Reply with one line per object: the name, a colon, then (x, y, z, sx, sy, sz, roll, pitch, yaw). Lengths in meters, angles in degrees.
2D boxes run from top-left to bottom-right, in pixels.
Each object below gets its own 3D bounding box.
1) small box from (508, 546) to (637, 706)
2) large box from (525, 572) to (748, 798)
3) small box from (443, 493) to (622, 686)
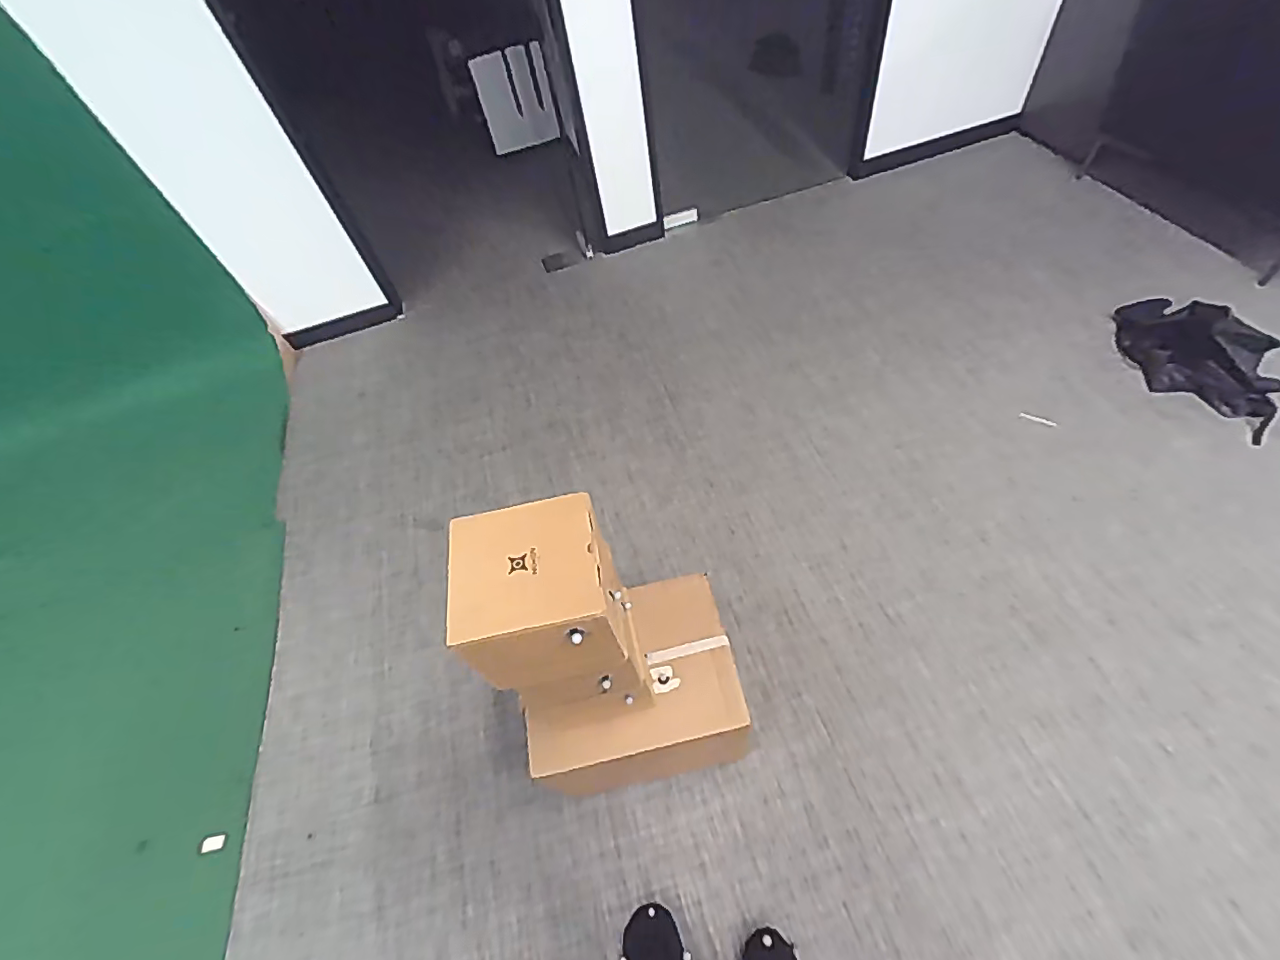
small box: (-0.106, 0.228, 0.822, 0.168, 0.176, 0.179, -13, 53, -3)
large box: (-0.014, 0.444, 1.158, 0.408, 0.320, 0.320, -13, 54, -2)
small box: (-0.129, 0.144, 0.684, 0.179, 0.176, 0.168, -12, 53, -2)
